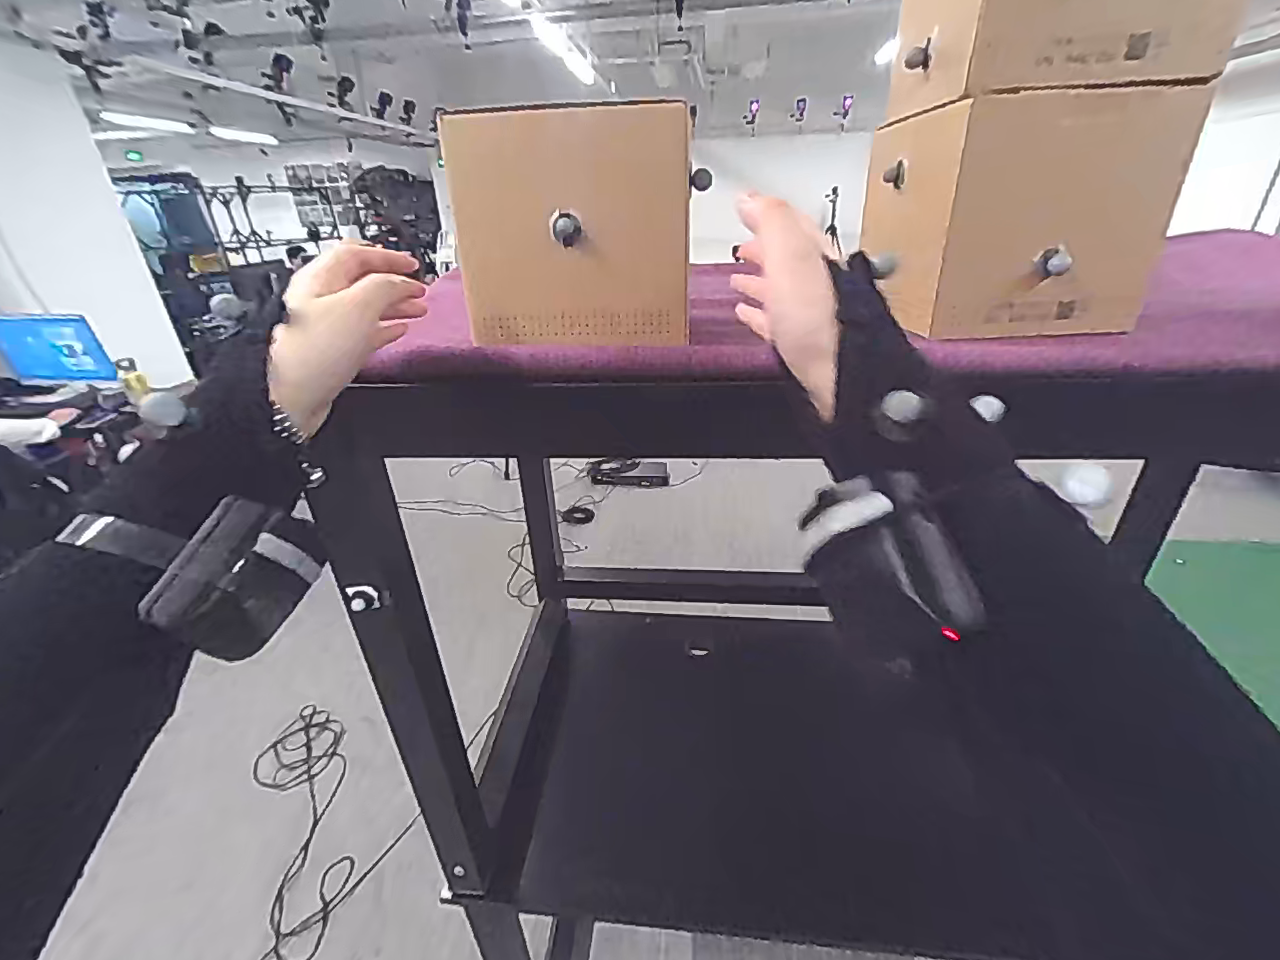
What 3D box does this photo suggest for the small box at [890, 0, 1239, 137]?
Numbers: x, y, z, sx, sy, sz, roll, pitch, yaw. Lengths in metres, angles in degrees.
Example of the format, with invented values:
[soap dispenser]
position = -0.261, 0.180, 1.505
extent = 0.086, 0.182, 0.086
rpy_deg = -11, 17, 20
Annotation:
[small box]
position = 0.310, -0.370, 0.406
extent = 0.168, 0.176, 0.179
rpy_deg = 0, 27, 4
